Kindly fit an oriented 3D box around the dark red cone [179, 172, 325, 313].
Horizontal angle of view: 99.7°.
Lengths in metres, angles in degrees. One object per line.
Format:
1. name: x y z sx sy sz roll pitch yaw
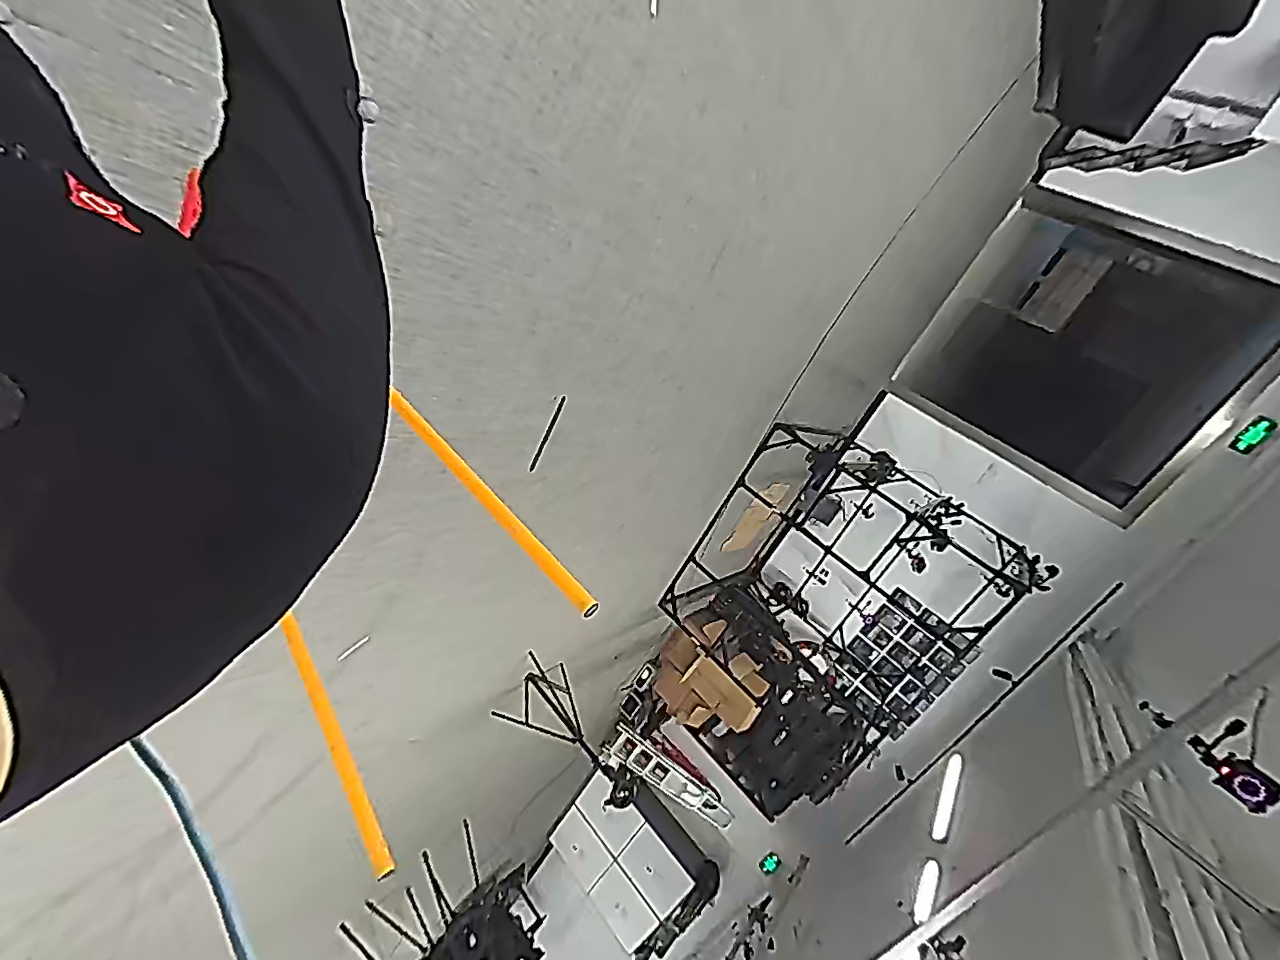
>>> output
1. dark red cone: -0.754 -0.445 1.105 0.201 0.394 0.202 -6 131 -57
